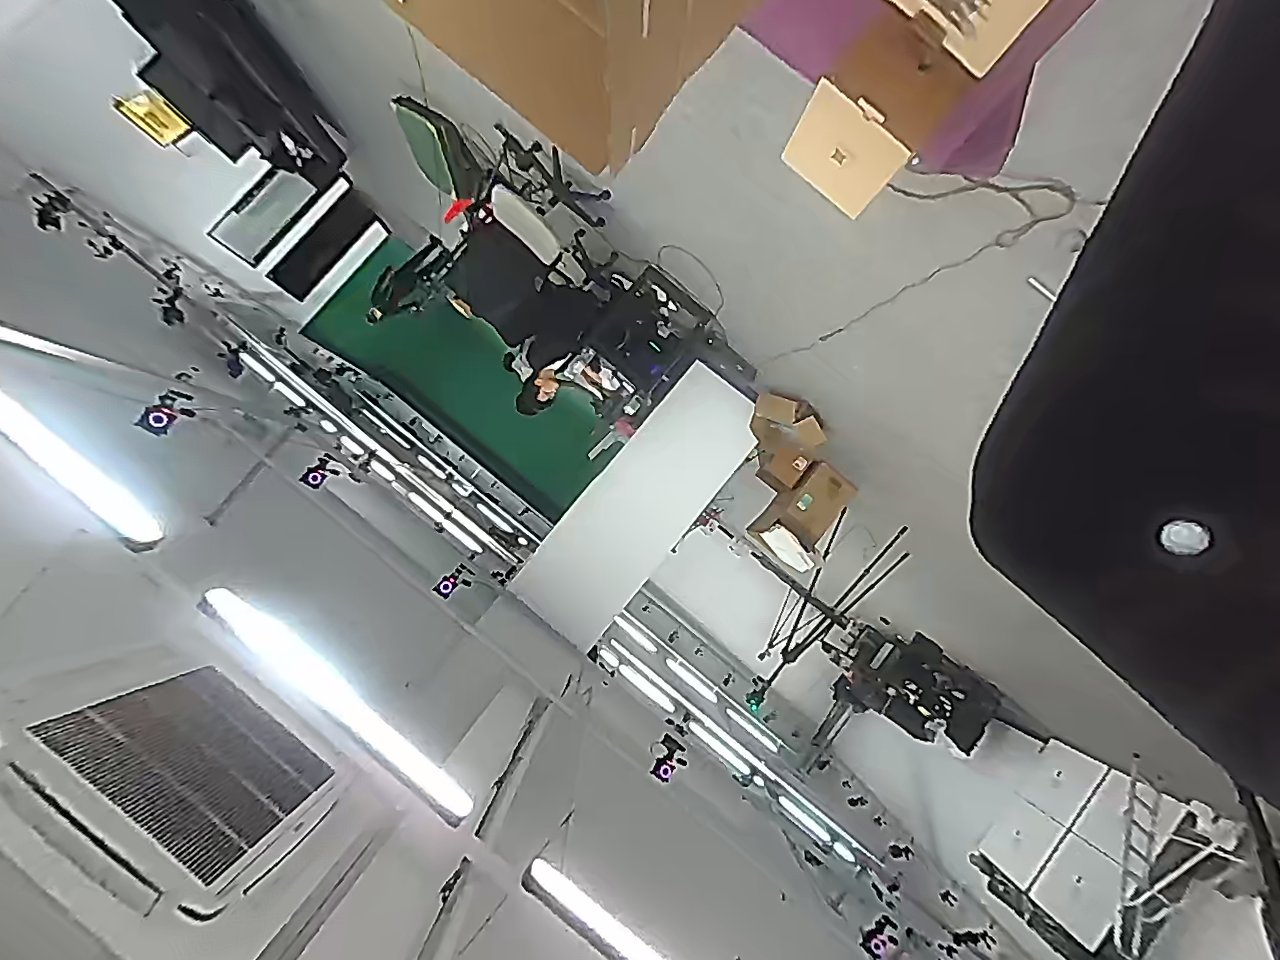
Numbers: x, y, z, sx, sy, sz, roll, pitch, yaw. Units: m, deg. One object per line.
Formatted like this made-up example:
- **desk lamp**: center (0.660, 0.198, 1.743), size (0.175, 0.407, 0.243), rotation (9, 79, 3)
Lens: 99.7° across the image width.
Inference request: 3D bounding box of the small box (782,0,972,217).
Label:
- **small box**: center (0.355, -0.557, 0.827), size (0.168, 0.176, 0.179), rotation (40, 174, -1)
